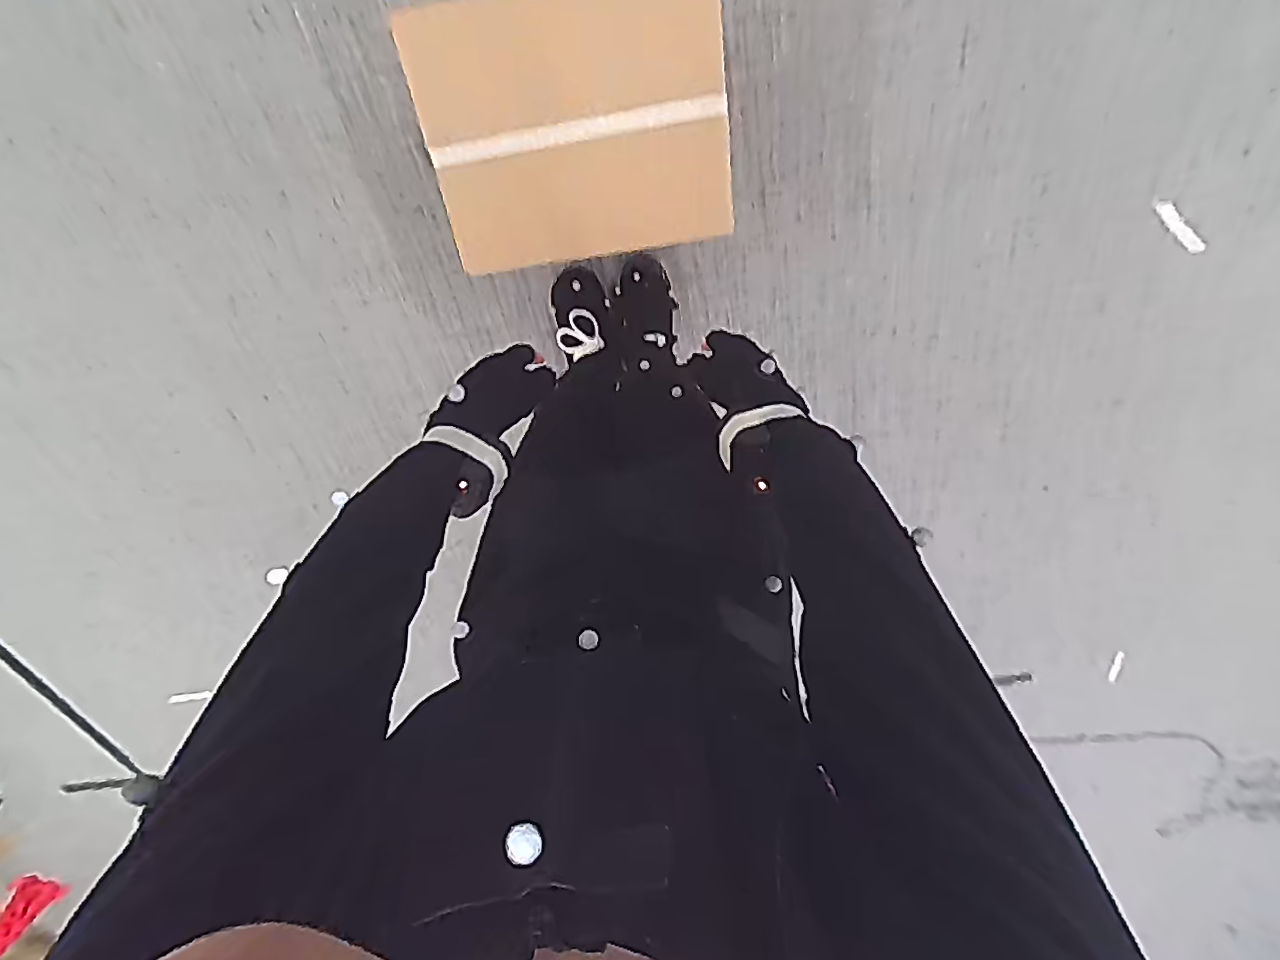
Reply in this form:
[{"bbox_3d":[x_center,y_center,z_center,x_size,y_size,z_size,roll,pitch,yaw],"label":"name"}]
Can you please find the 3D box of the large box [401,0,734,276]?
[{"bbox_3d":[-0.083,-0.543,0.859,0.408,0.320,0.320,-8,122,4],"label":"large box"}]
